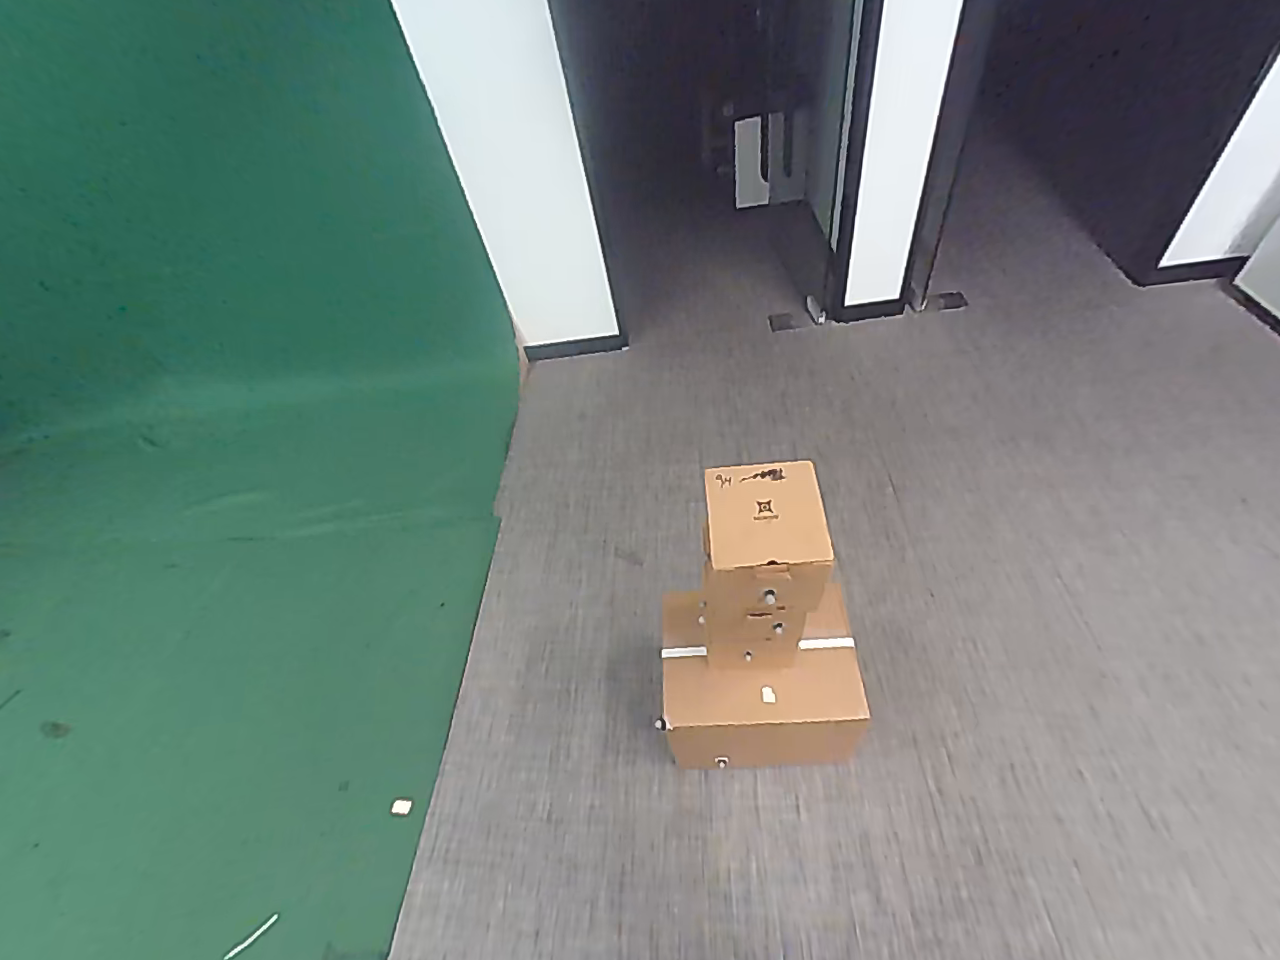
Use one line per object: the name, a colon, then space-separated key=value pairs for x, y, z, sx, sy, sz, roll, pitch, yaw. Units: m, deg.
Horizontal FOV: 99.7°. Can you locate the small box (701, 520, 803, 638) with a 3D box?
small box: x=0.202 y=0.183 z=0.991 sx=0.168 sy=0.176 sz=0.179 roll=-5 pitch=53 yaw=7

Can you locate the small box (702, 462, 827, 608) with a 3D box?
small box: x=0.190 y=0.094 z=0.854 sx=0.168 sy=0.176 sz=0.179 roll=-5 pitch=55 yaw=7

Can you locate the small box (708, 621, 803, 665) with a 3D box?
small box: x=0.229 y=0.276 z=1.122 sx=0.179 sy=0.176 sz=0.168 roll=-6 pitch=55 yaw=7
